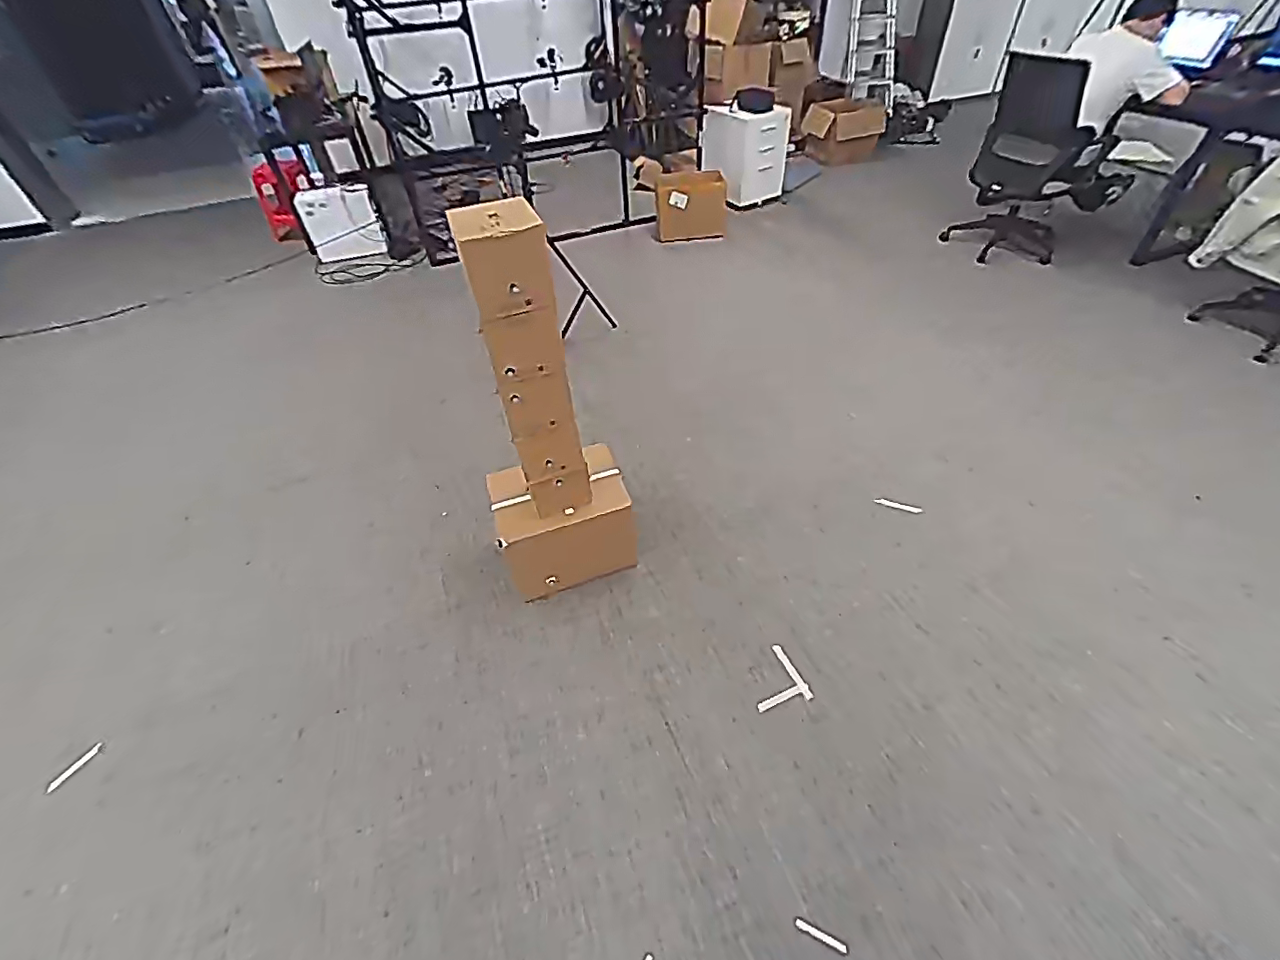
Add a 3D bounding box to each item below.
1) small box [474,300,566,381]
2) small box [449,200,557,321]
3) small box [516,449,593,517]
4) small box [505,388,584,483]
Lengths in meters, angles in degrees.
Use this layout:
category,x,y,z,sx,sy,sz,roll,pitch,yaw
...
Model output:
category,x,y,z,sx,sy,sz,roll,pitch,yaw
small box,-0.278,-0.347,1.256,0.168,0.176,0.179,-16,47,-11
small box,-0.286,-0.460,1.136,0.168,0.176,0.179,-19,49,-13
small box,-0.252,-0.015,1.616,0.179,0.176,0.168,-18,48,-14
small box,-0.262,-0.121,1.494,0.168,0.176,0.179,-18,48,-13
